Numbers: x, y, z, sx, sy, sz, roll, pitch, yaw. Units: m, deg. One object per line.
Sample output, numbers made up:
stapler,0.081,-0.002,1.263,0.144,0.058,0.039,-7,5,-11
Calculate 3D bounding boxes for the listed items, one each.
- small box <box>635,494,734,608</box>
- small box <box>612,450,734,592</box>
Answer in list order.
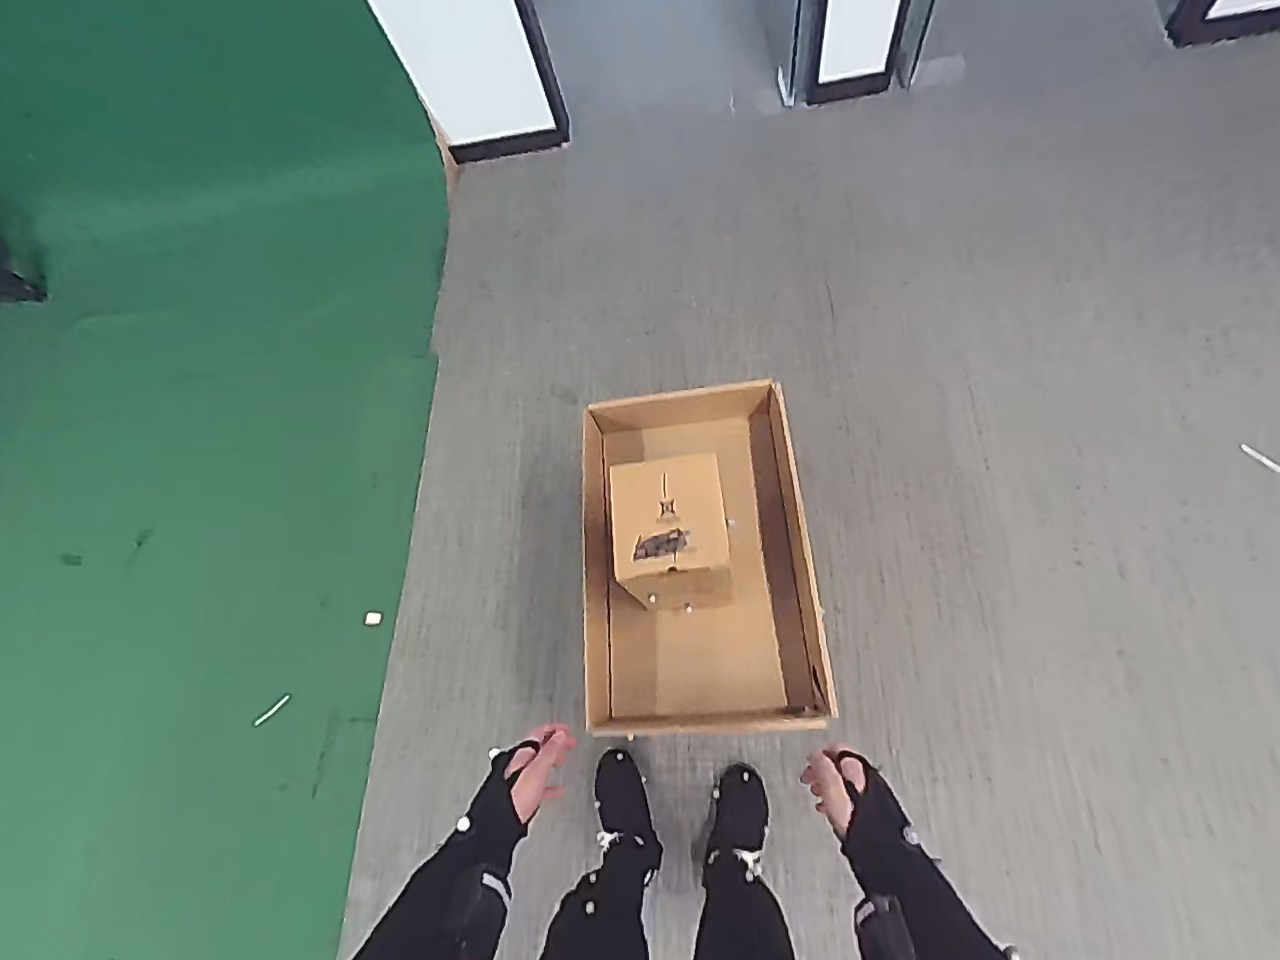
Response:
small box,0.084,0.133,0.999,0.168,0.176,0.179,-6,68,9
small box,0.056,0.074,0.849,0.168,0.176,0.179,-7,67,7
